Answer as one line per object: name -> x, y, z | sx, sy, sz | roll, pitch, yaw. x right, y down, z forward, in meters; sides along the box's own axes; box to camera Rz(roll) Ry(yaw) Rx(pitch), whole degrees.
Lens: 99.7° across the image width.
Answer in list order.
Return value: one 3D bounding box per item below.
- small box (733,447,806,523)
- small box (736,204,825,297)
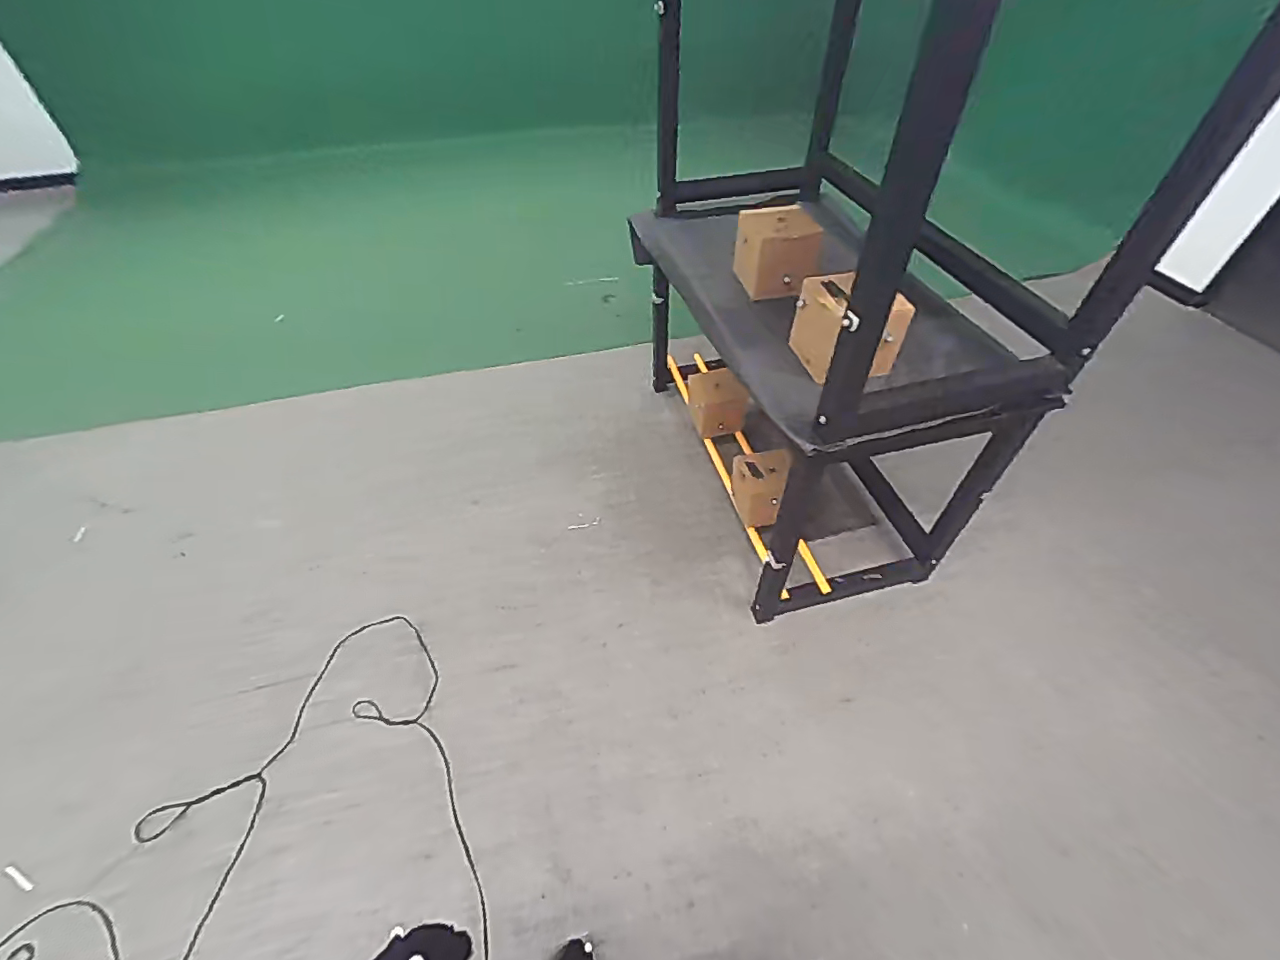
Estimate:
small box -> 0.399, 0.020, 1.711 | 0.179, 0.176, 0.168 | -9, 49, -7
small box -> 0.365, -0.611, 1.441 | 0.168, 0.176, 0.179 | -9, 49, -7
